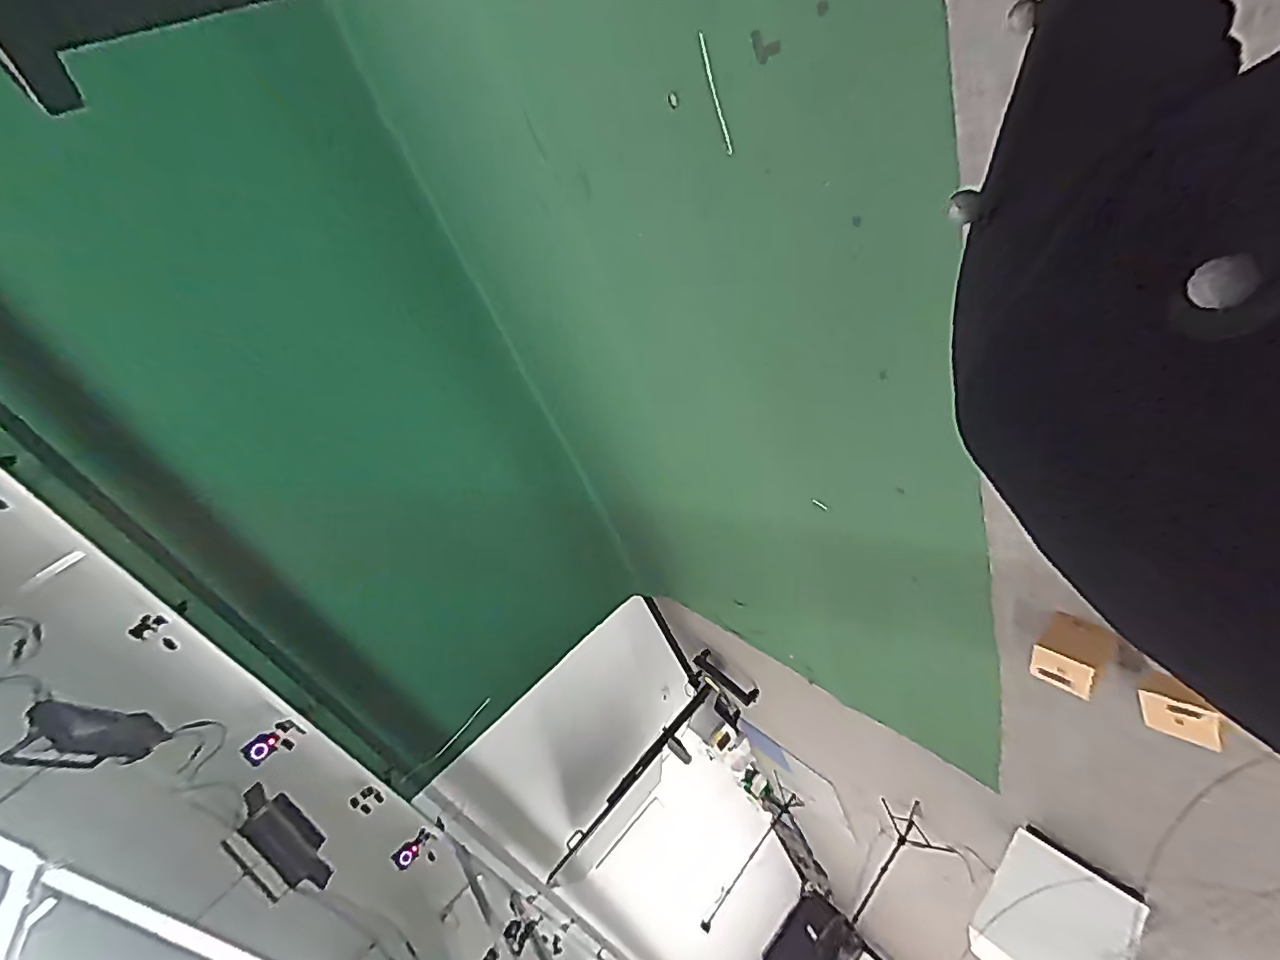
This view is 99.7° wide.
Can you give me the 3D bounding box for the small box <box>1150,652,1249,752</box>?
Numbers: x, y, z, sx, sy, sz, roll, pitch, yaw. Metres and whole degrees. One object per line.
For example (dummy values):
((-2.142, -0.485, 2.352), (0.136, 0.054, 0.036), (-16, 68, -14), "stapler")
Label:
((1.621, 0.634, 1.566), (0.168, 0.176, 0.179), (10, 135, 58), "small box")
